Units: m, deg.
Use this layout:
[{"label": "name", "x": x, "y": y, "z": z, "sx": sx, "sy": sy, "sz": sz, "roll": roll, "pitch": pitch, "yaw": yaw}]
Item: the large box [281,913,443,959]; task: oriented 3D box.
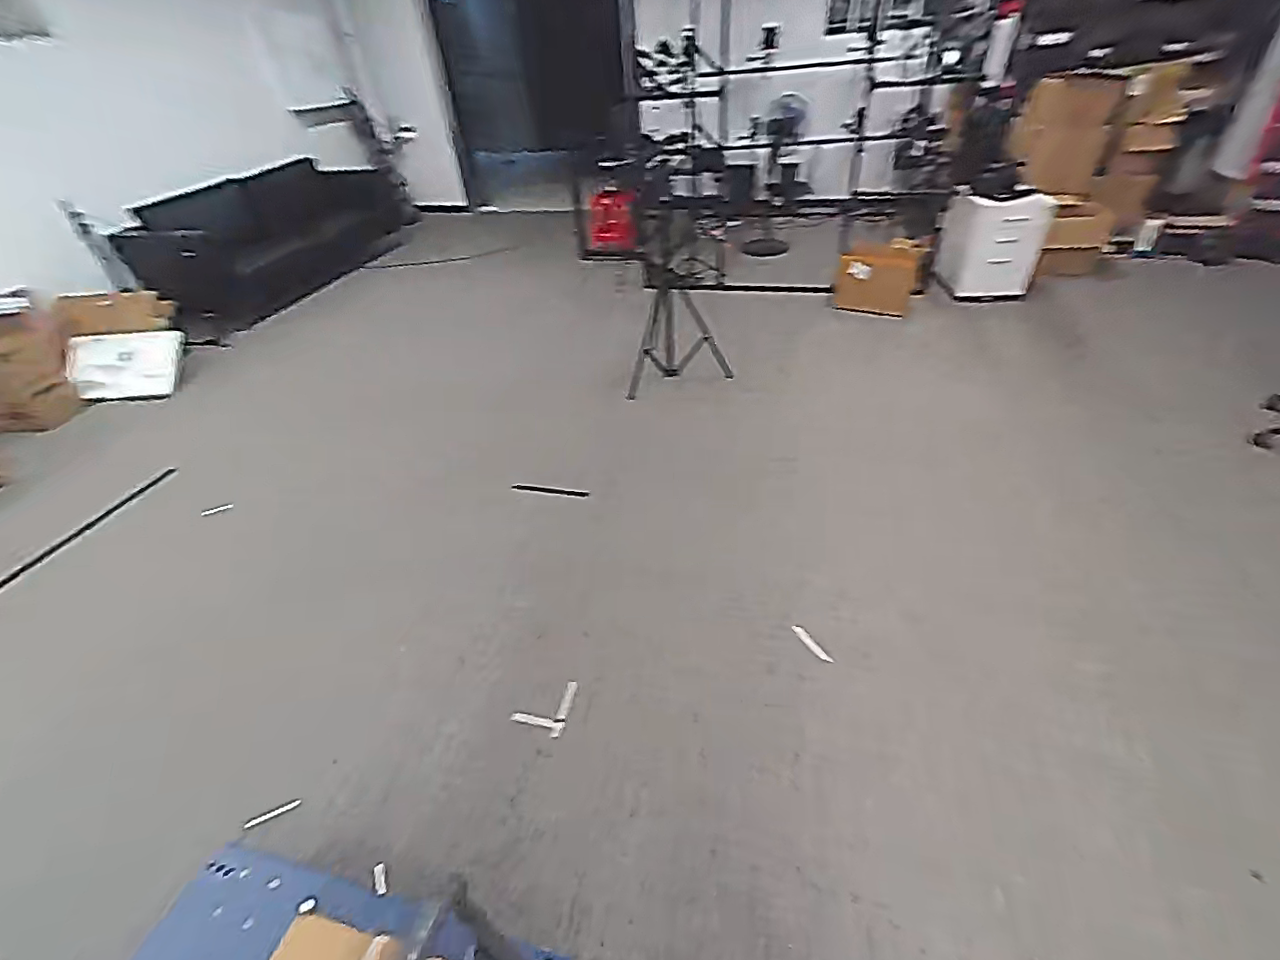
[{"label": "large box", "x": -0.432, "y": 0.958, "z": 0.784, "sx": 0.320, "sy": 0.320, "sz": 0.408, "roll": 7, "pitch": 39, "yaw": 14}]
